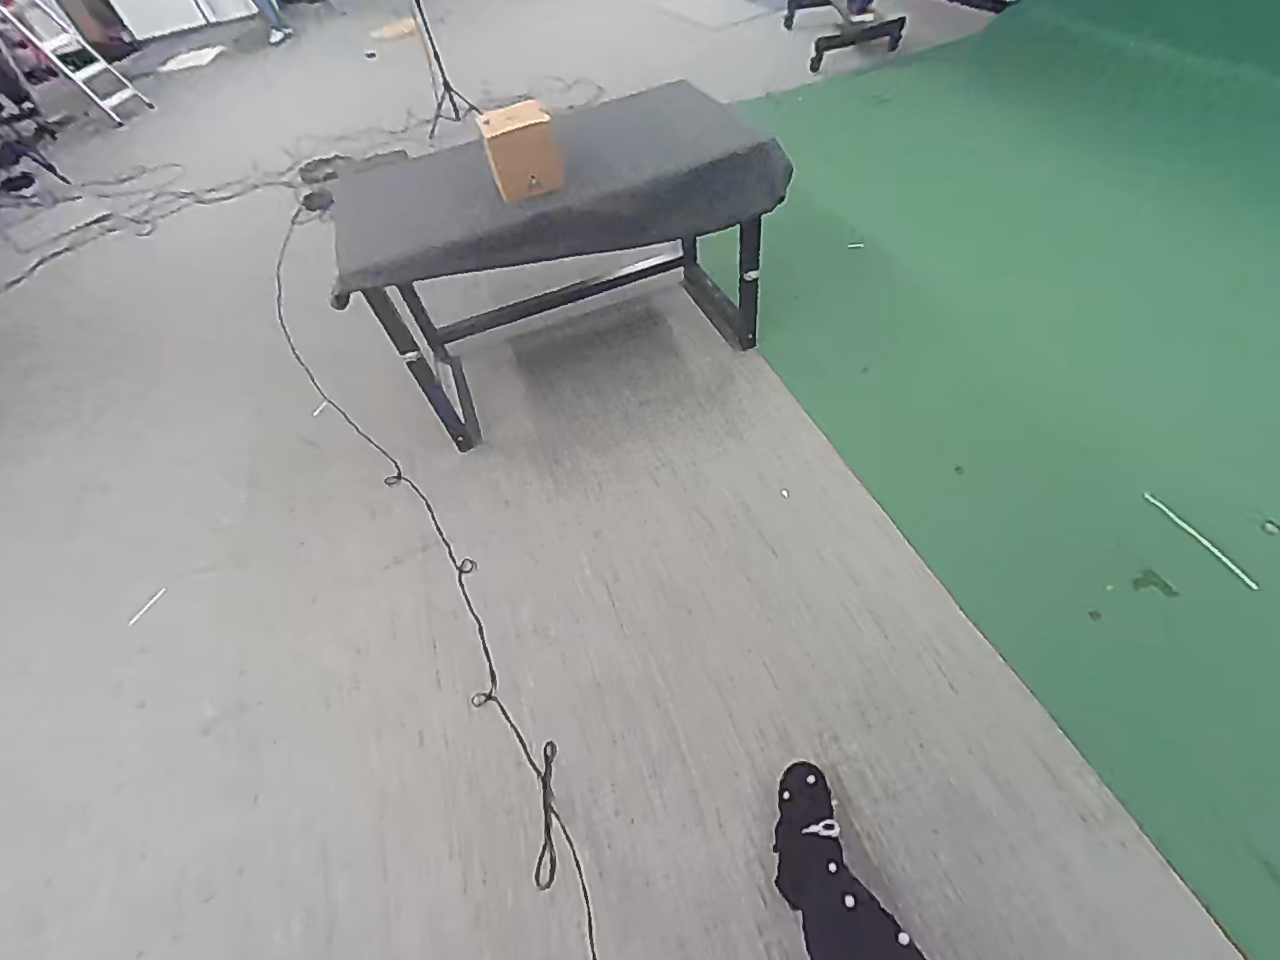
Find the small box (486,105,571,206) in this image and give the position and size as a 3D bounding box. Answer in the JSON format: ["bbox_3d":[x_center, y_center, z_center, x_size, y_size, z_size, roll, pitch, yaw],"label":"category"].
[{"bbox_3d":[-0.295,-0.875,1.463,0.179,0.176,0.168,-20,52,-6],"label":"small box"}]
